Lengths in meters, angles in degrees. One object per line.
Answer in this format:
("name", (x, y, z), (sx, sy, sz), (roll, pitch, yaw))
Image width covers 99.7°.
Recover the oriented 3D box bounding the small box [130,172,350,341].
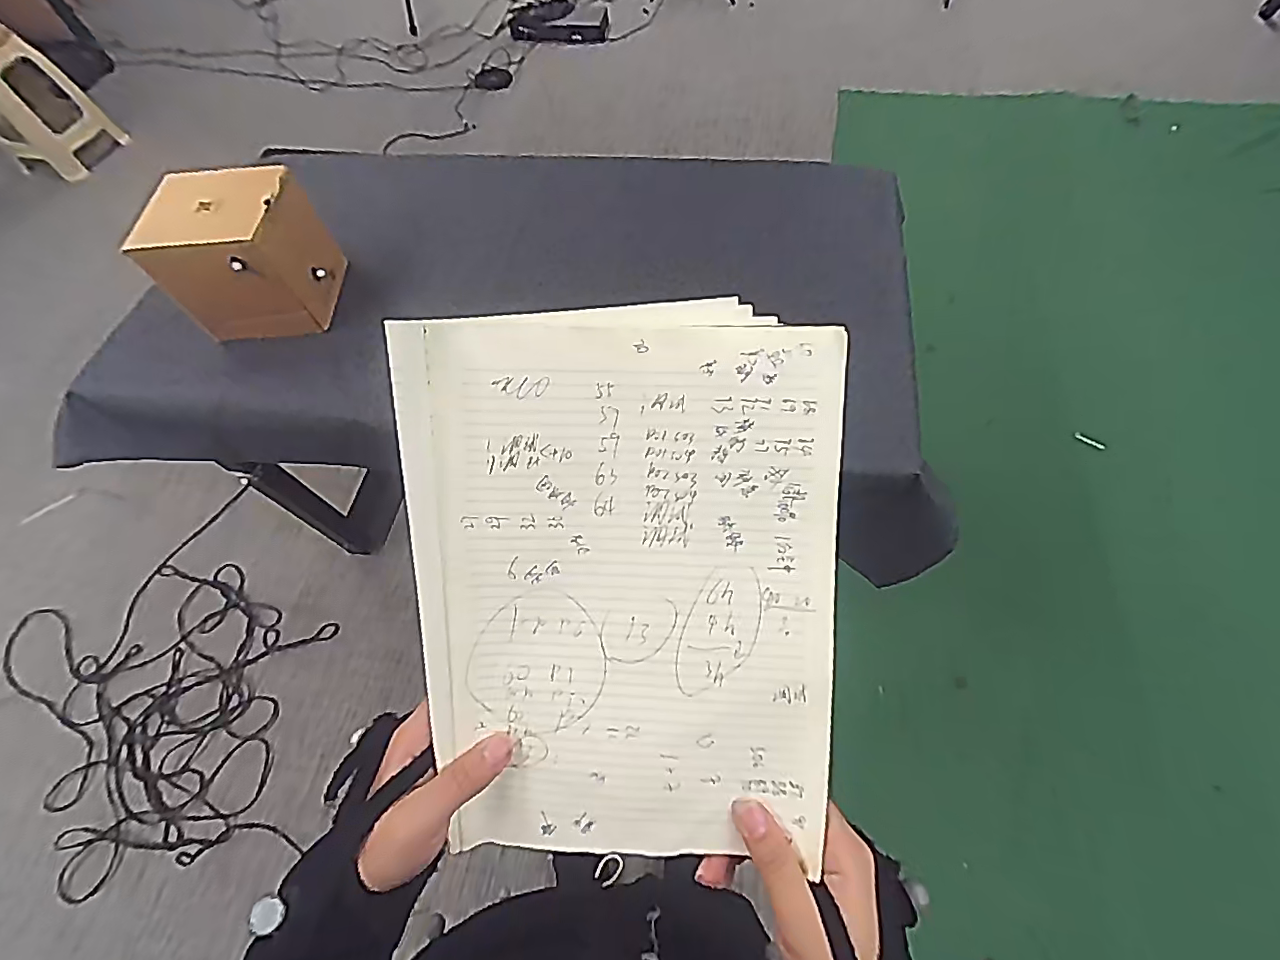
("small box", (-0.573, -0.324, 0.804), (0.179, 0.176, 0.168), (-5, 60, 1))
